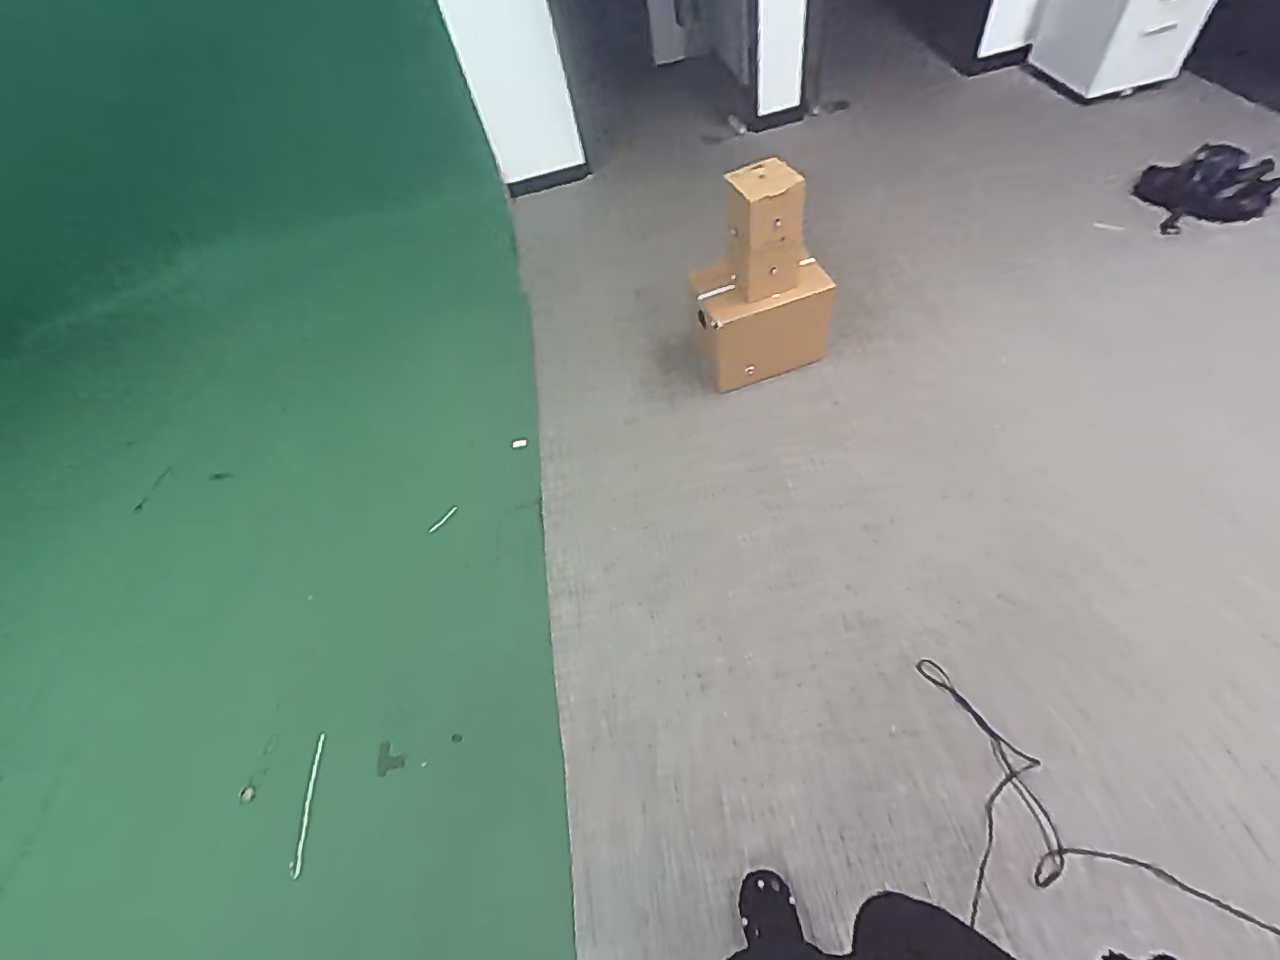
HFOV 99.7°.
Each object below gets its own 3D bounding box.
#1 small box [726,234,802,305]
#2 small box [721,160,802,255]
[{"bbox_3d":[0.381,-0.682,1.688,0.179,0.176,0.168,-23,54,-6],"label":"small box"},{"bbox_3d":[0.348,-0.778,1.560,0.168,0.176,0.179,-22,54,-4],"label":"small box"}]
